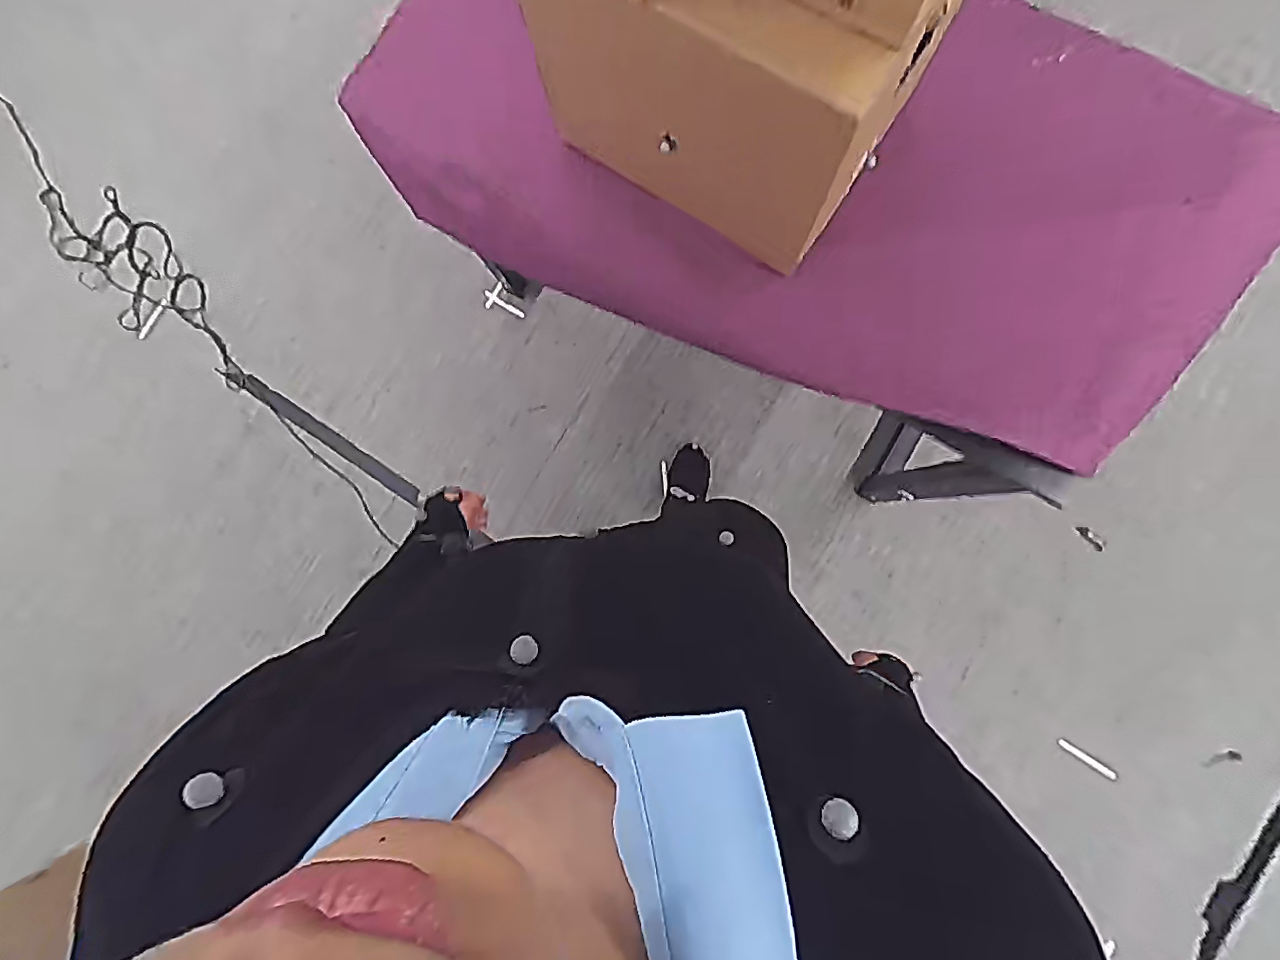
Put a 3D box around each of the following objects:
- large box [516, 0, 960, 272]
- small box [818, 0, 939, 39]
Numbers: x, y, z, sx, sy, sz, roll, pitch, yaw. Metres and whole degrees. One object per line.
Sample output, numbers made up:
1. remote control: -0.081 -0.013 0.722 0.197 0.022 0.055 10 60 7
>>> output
1. large box: 0.121 -0.525 0.636 0.408 0.320 0.320 33 87 7
2. small box: 0.196 -0.482 0.380 0.168 0.176 0.179 33 88 7
